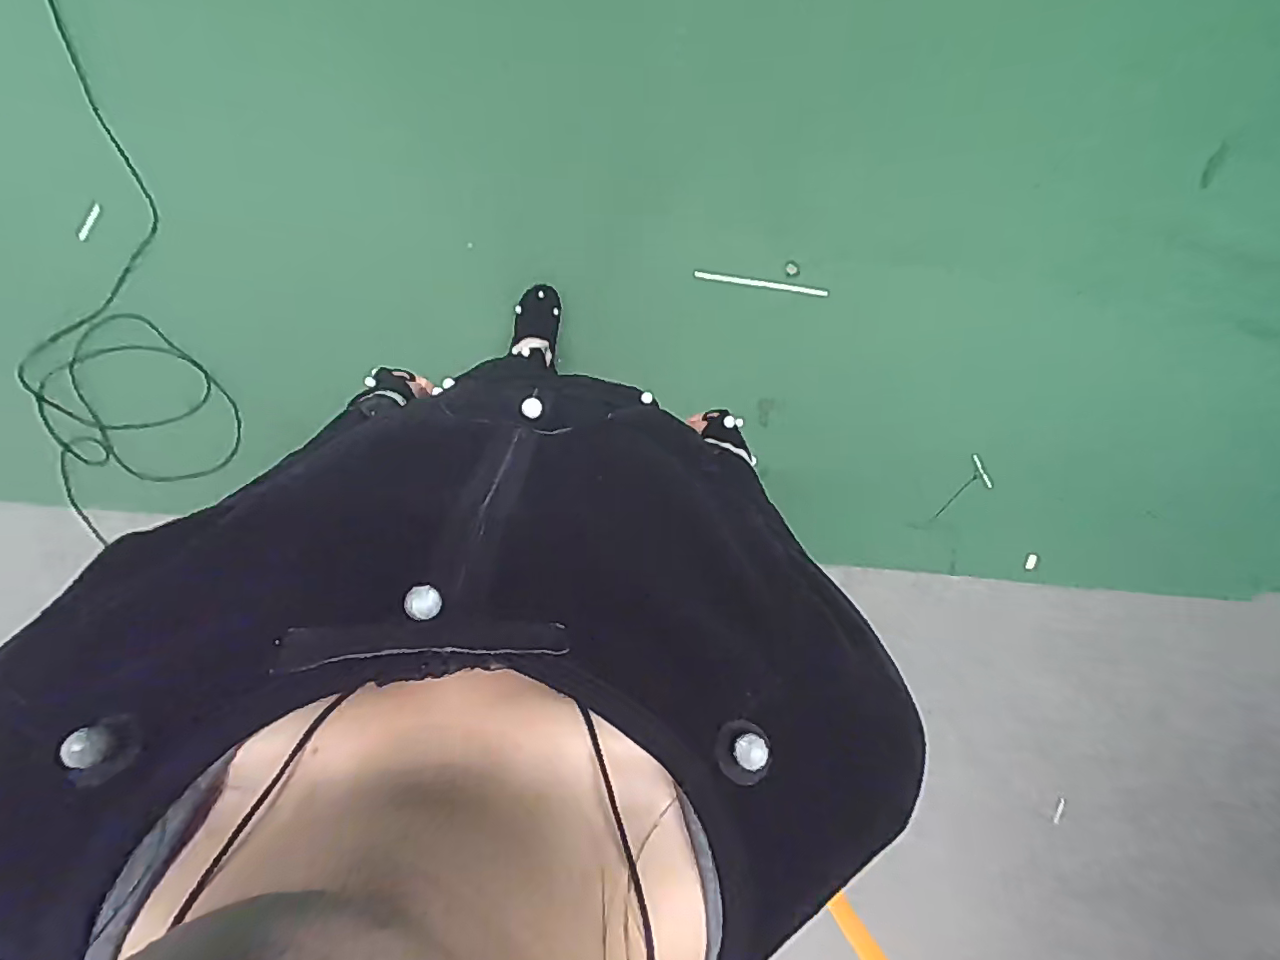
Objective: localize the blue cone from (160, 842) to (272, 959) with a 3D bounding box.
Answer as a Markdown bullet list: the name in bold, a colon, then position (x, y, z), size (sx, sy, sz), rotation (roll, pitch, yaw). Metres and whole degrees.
- **blue cone**: position (-1.214, 1.232, 1.471), size (0.193, 0.380, 0.192), rotation (-37, 106, 4)
